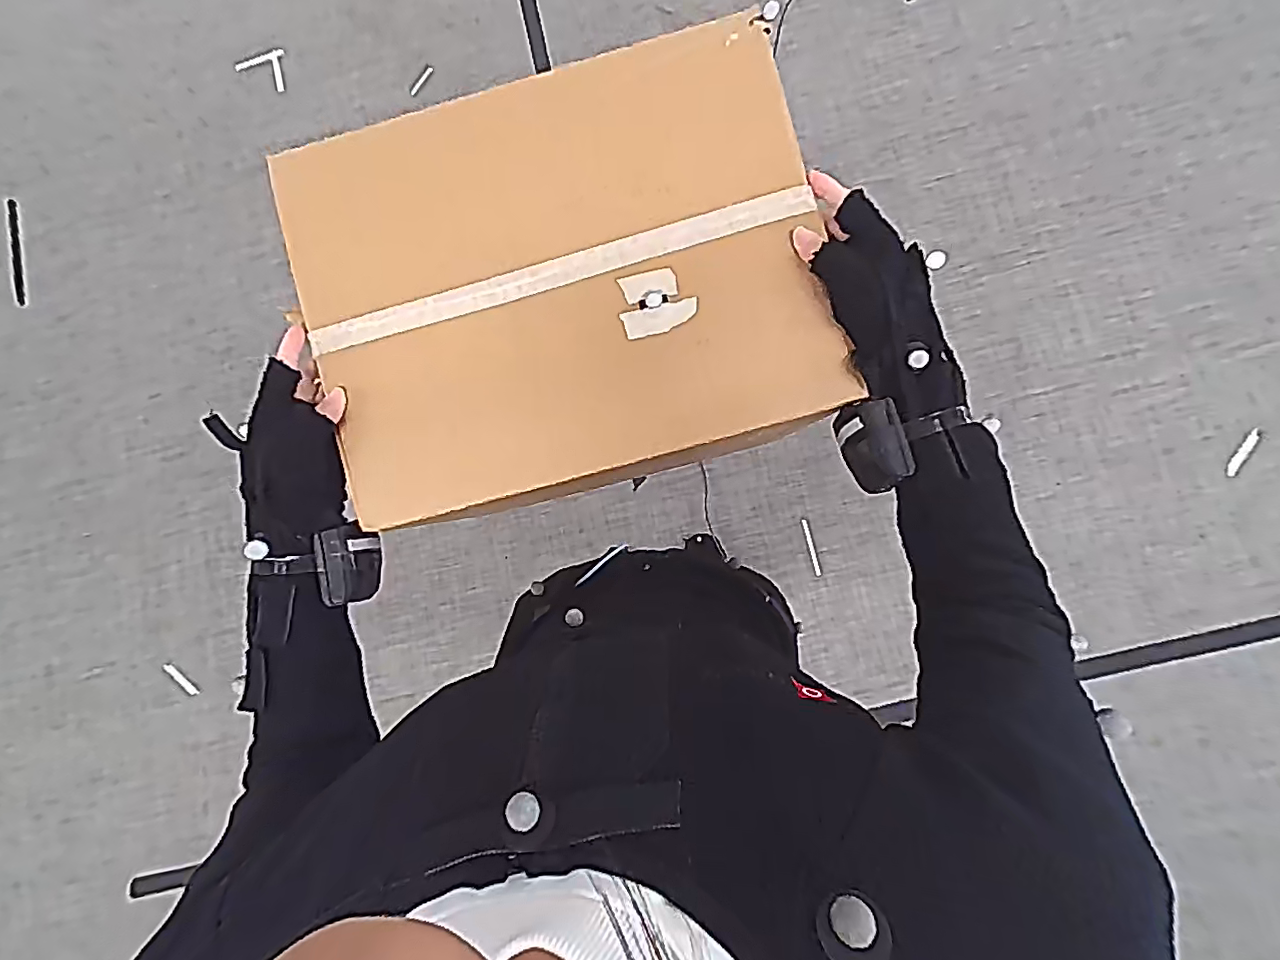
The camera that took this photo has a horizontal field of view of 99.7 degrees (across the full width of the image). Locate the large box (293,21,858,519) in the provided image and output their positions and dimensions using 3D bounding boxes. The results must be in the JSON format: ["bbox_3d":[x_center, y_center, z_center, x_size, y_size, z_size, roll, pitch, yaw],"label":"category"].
[{"bbox_3d":[-0.053,-0.163,0.581,0.408,0.320,0.320,-15,89,2],"label":"large box"}]
